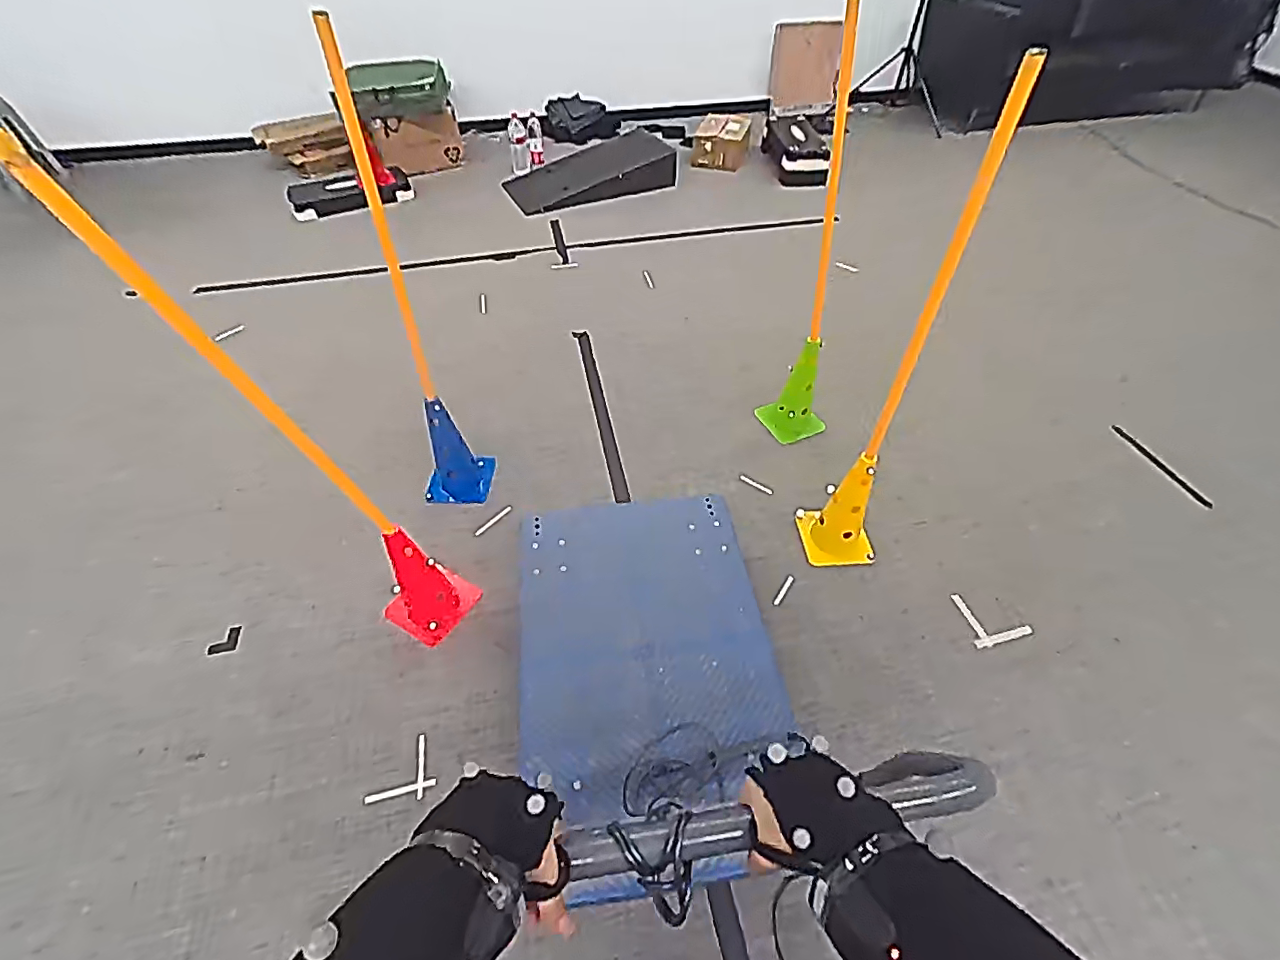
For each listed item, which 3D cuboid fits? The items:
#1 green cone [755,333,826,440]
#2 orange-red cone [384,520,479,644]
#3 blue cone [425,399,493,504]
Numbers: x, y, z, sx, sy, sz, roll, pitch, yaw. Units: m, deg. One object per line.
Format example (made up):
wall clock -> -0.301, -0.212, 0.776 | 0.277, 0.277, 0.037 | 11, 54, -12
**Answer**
green cone -> 0.552, -0.344, 1.855 | 0.200, 0.368, 0.202 | -21, 54, -17
orange-red cone -> -0.570, 0.221, 1.367 | 0.198, 0.360, 0.199 | 26, 53, 20
blue cone -> -0.589, -0.105, 1.667 | 0.193, 0.380, 0.192 | 2, 50, 1
